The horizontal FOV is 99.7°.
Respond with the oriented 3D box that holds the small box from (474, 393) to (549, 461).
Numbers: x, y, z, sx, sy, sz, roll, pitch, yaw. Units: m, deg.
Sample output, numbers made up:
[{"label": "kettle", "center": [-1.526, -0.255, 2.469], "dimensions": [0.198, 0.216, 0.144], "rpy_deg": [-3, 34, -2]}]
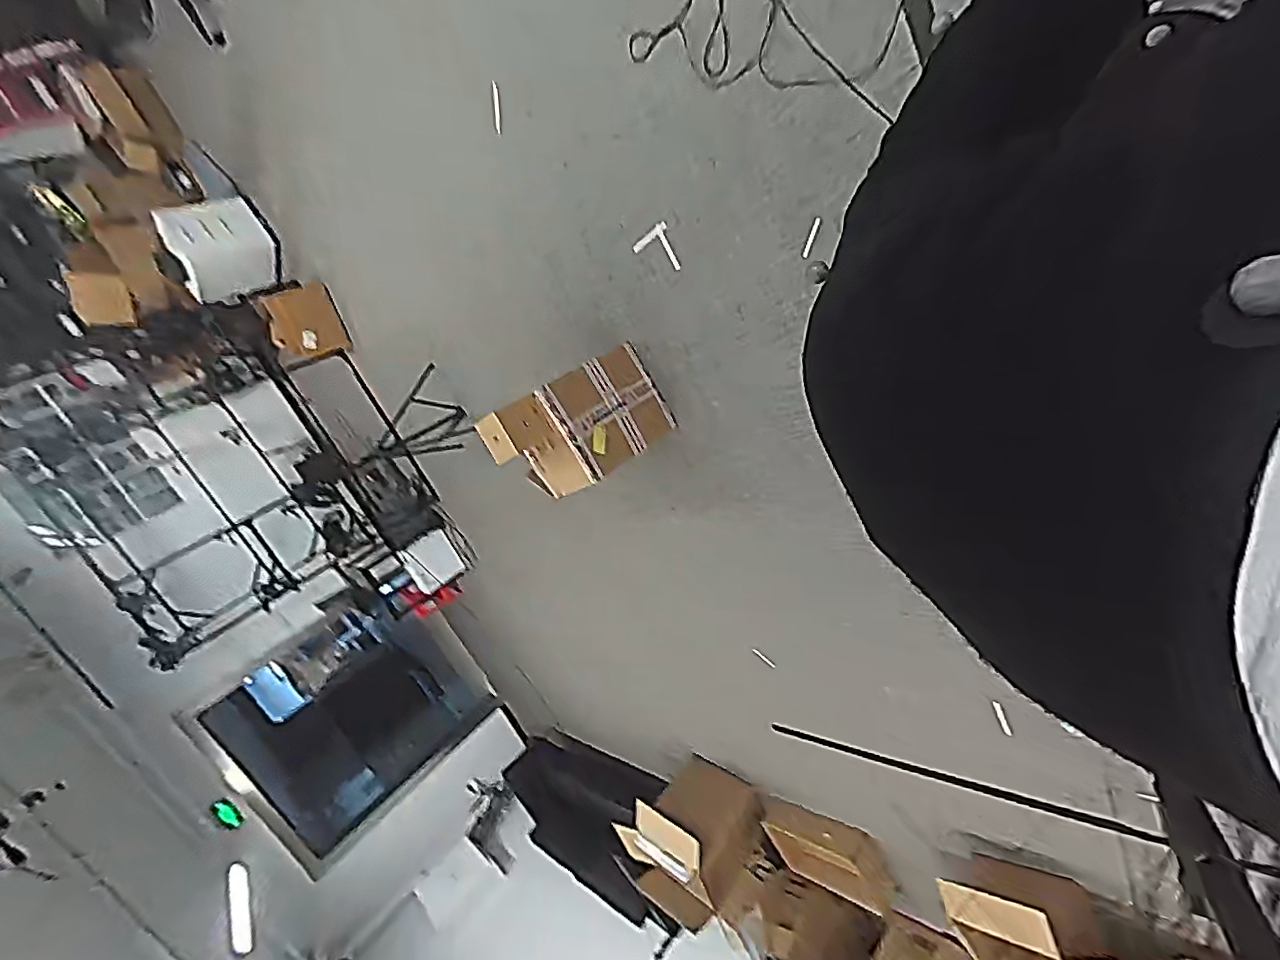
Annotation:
[{"label": "small box", "center": [-0.451, -0.192, 1.925], "dimensions": [0.179, 0.176, 0.168], "rpy_deg": [-17, 104, 50]}]
